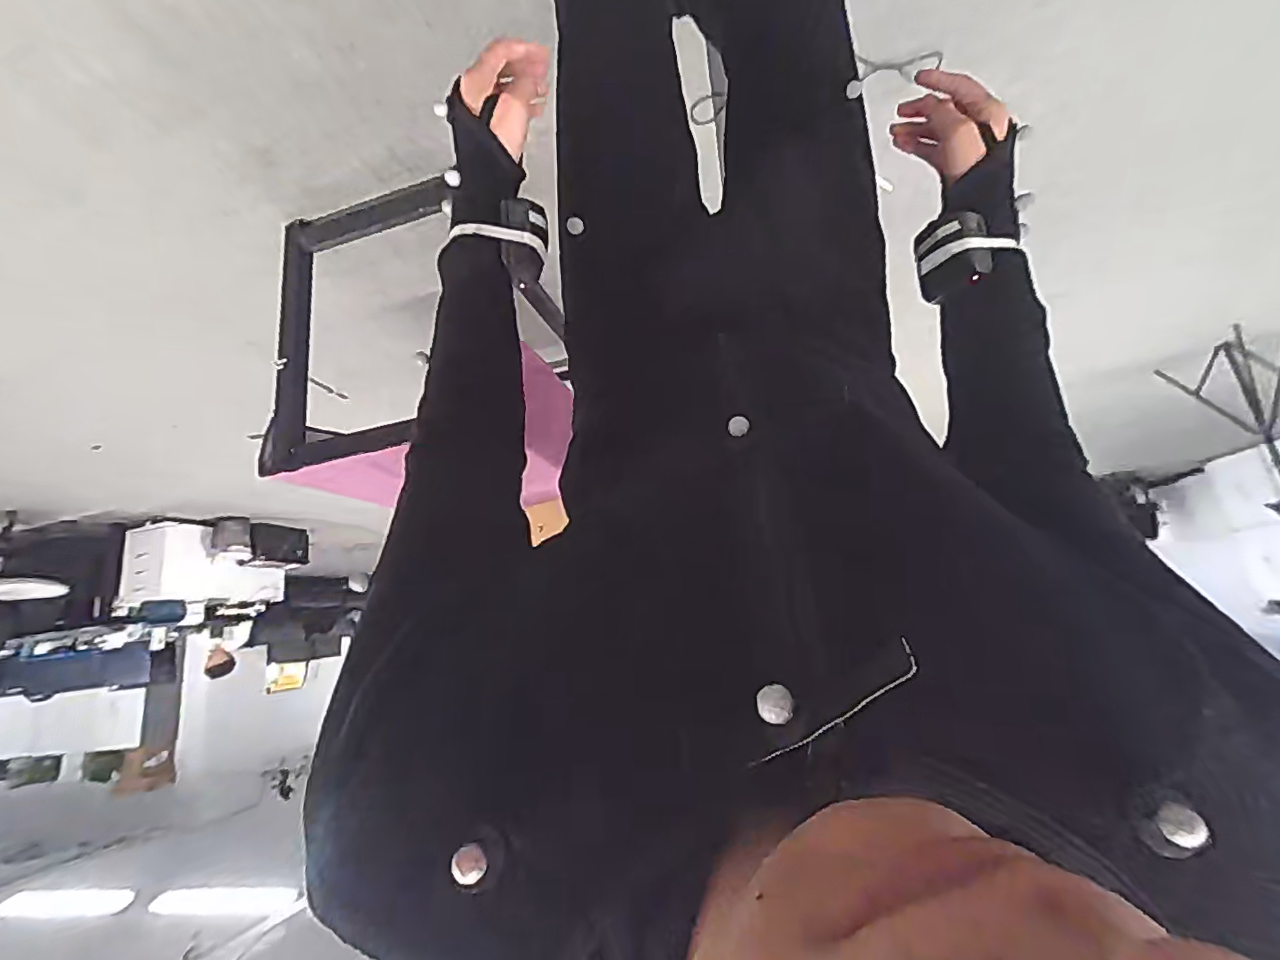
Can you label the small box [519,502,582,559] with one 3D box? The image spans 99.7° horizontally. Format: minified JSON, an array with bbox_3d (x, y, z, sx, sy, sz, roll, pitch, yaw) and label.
[{"bbox_3d":[-0.328,0.186,1.975,0.179,0.176,0.168,-13,164,16],"label":"small box"}]
